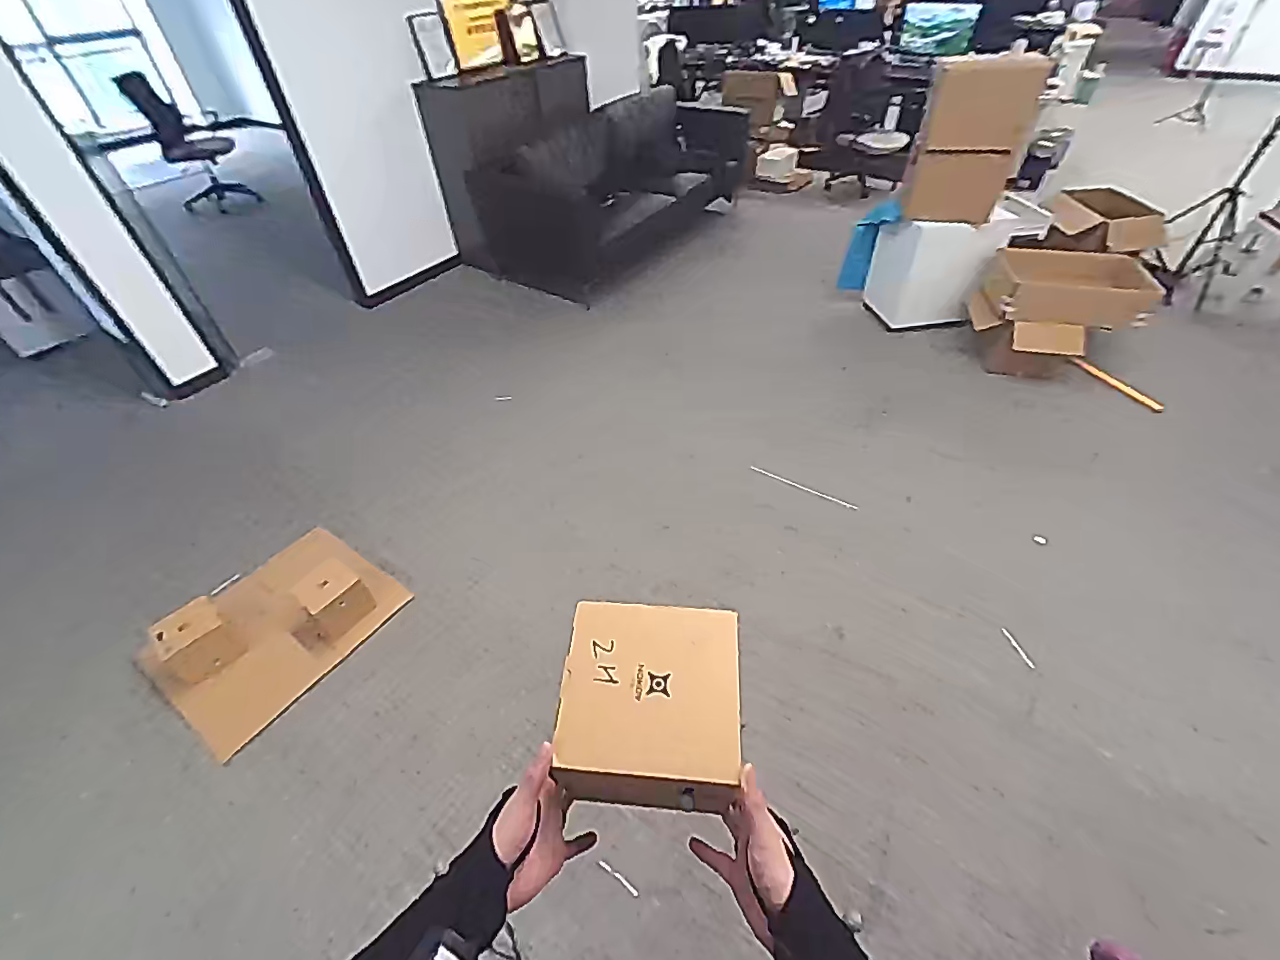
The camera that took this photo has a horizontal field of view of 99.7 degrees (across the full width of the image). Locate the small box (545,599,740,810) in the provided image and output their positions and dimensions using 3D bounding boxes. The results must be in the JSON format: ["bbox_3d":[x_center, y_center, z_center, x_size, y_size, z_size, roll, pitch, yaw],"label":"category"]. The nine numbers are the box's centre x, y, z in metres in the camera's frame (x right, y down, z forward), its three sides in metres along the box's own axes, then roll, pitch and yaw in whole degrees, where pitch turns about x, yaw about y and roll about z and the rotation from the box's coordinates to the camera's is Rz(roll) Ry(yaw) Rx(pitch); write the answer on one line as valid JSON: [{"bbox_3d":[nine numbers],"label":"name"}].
[{"bbox_3d":[0.010,0.248,0.591,0.179,0.176,0.168,3,50,5],"label":"small box"}]

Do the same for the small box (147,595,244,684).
[{"bbox_3d":[-1.424,0.516,1.748,0.168,0.176,0.179,33,54,31],"label":"small box"}]

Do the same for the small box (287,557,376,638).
[{"bbox_3d":[-1.048,0.404,1.849,0.168,0.176,0.179,26,52,26],"label":"small box"}]
